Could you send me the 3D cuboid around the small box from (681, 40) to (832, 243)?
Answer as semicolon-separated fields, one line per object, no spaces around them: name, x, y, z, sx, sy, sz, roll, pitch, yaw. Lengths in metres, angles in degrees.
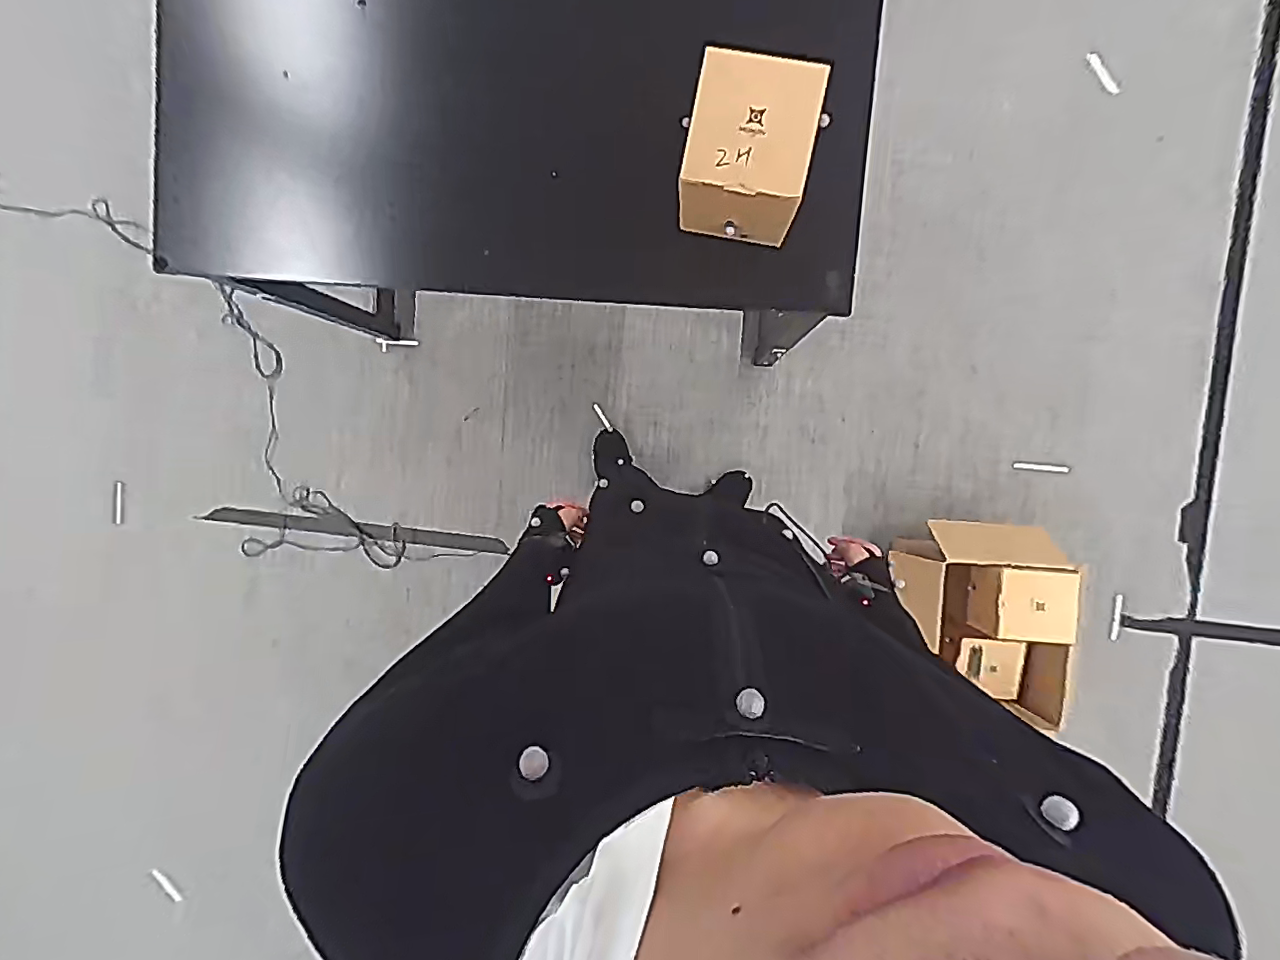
small box;0.155;-0.472;0.780;0.168;0.176;0.179;13;95;4
